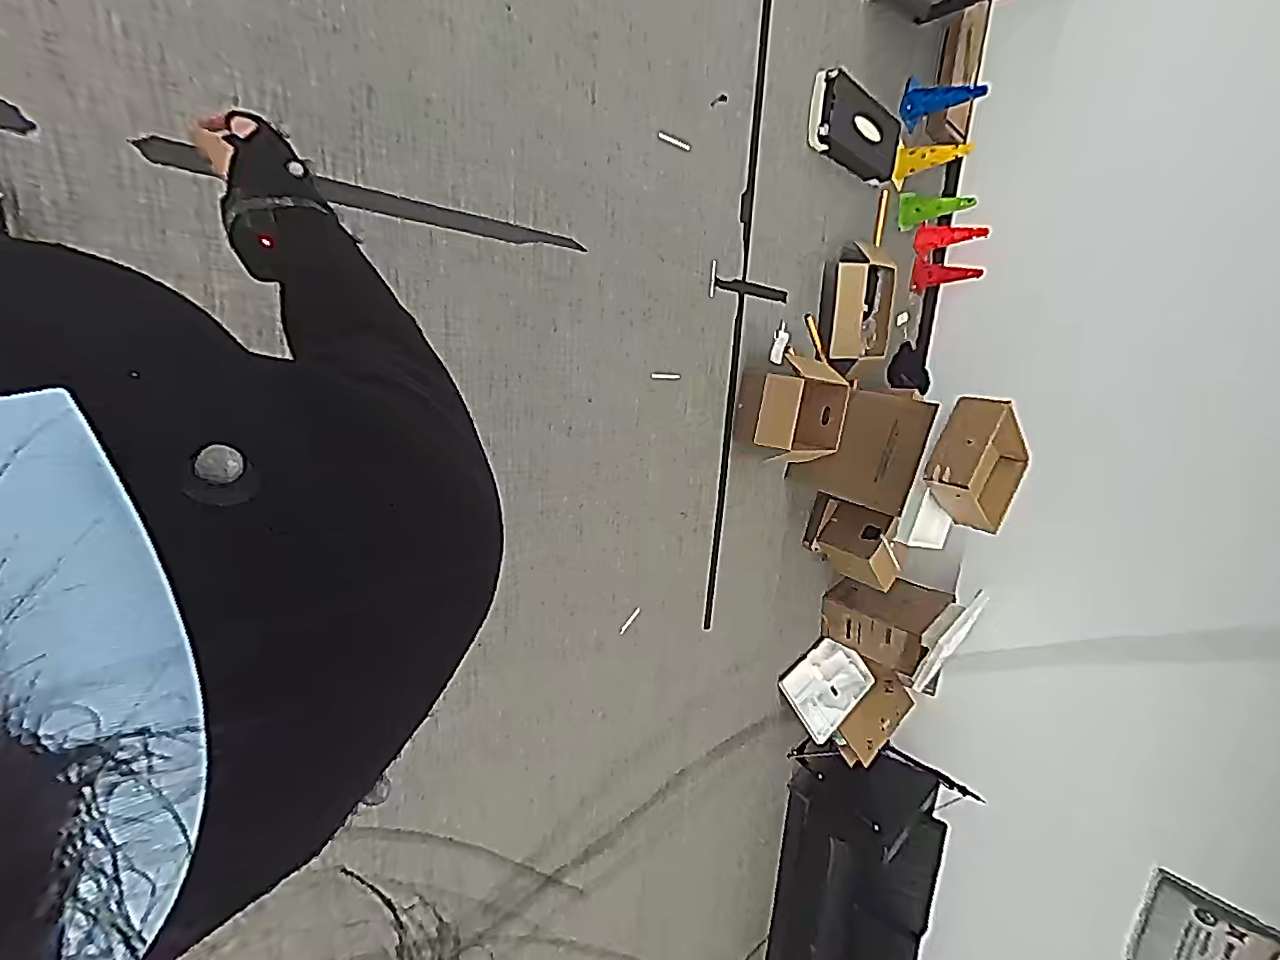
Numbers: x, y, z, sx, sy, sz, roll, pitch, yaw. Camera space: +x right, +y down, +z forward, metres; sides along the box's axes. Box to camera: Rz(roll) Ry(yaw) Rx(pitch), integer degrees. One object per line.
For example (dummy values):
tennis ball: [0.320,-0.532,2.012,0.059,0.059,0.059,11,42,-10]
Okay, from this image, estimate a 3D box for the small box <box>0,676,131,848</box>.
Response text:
small box: [-1.015,0.481,0.950,0.168,0.176,0.179,-8,108,-43]

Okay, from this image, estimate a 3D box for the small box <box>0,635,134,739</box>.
small box: [-1.131,0.440,1.058,0.168,0.176,0.179,-23,118,-39]
